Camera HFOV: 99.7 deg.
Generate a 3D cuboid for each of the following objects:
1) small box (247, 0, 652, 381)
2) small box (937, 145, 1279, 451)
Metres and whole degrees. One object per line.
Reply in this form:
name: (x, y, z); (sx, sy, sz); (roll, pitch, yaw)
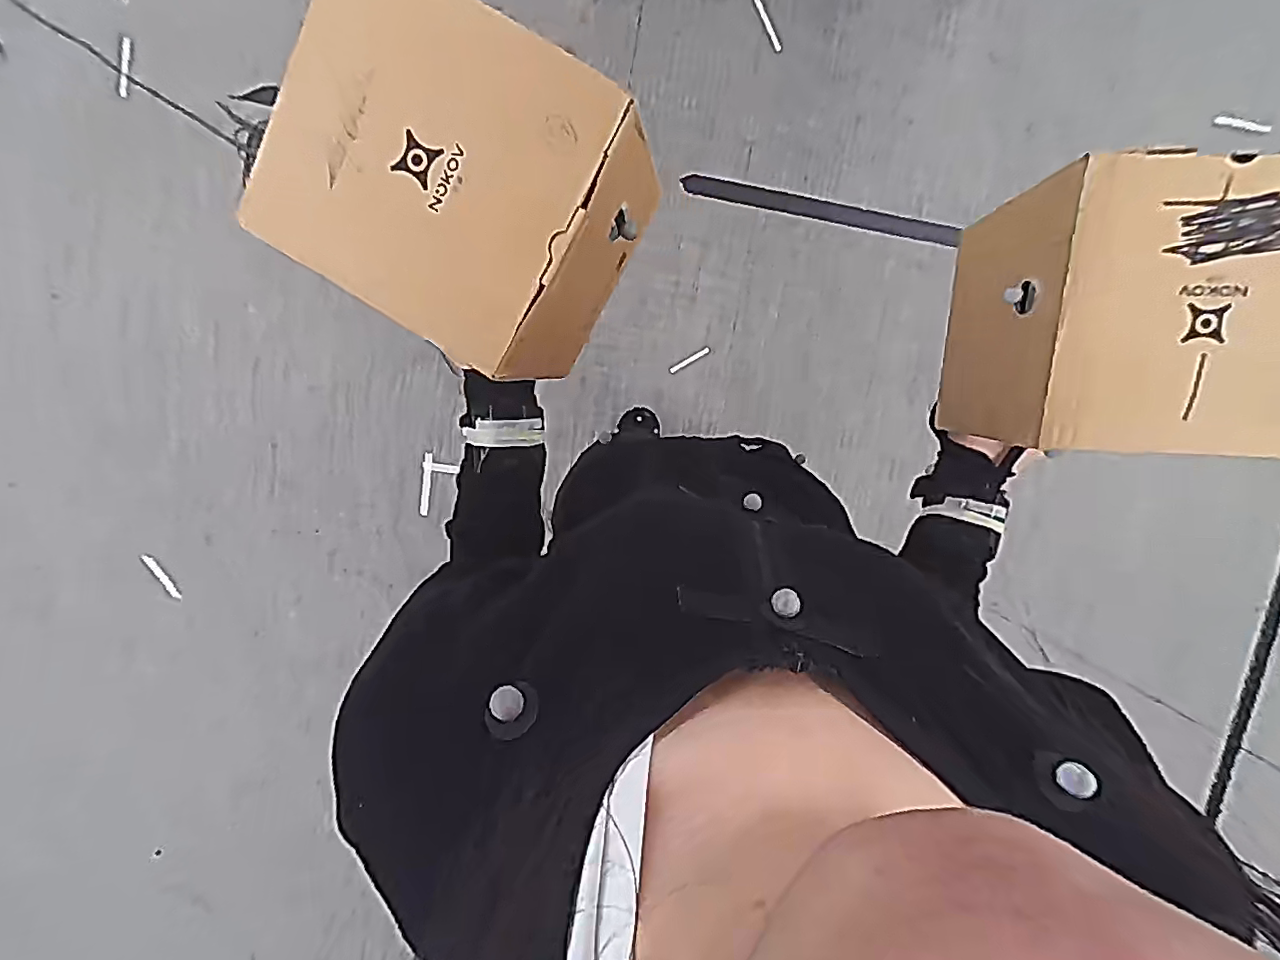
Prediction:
small box: (-0.105, -0.184, 0.372); (0.179, 0.176, 0.168); (30, 102, 0)
small box: (0.345, -0.120, 0.402); (0.168, 0.176, 0.179); (3, 101, 7)
